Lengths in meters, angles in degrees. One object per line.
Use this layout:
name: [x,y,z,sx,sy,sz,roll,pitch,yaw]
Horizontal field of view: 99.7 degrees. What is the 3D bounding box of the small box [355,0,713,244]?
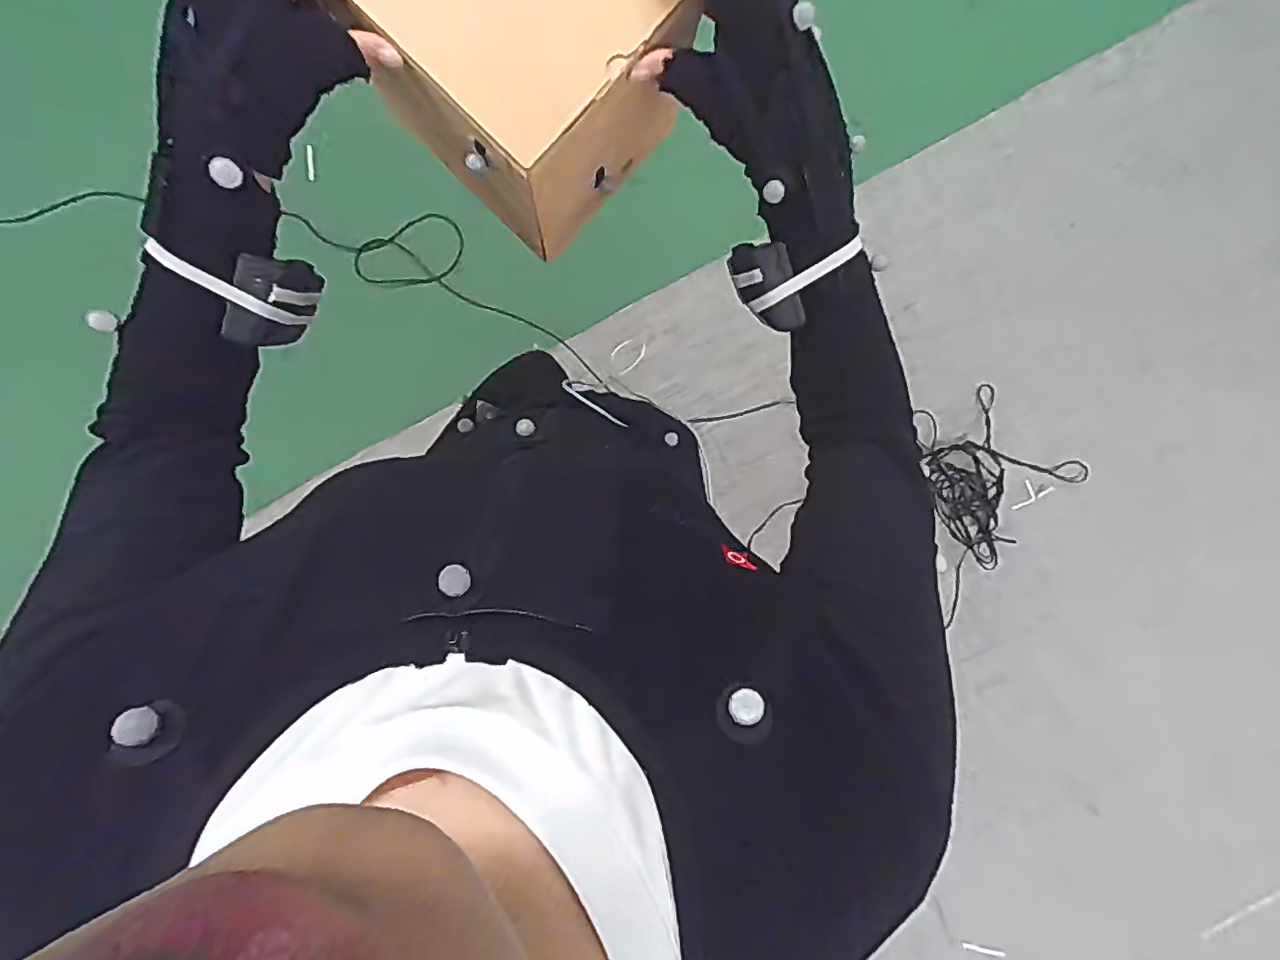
small box: [-0.078,-0.311,0.396,0.179,0.176,0.168,43,89,-9]
